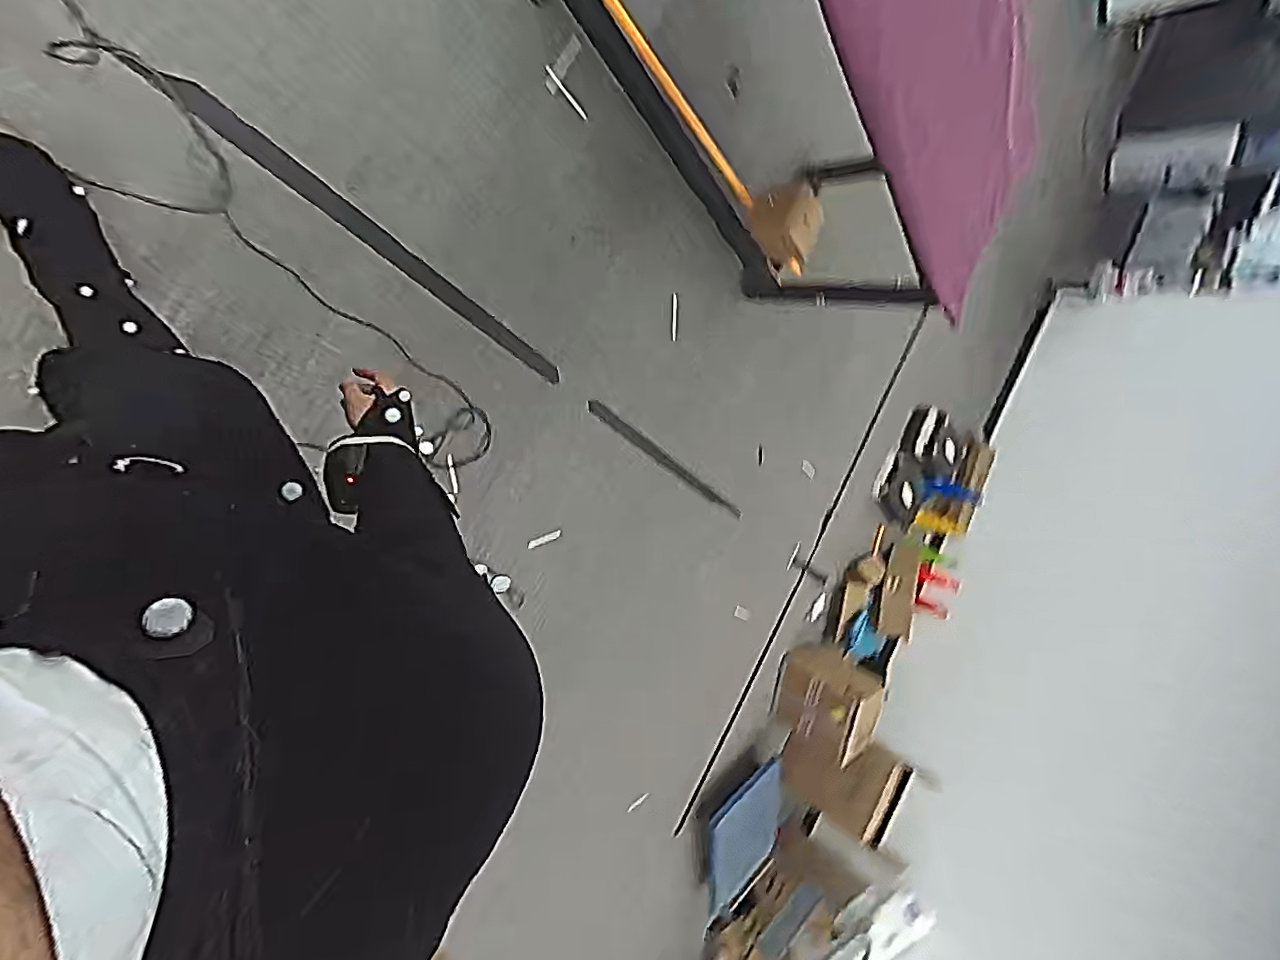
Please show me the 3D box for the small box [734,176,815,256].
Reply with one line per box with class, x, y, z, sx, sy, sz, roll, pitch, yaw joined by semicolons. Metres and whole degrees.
small box;0.438;-0.856;1.774;0.179;0.176;0.168;31;84;-46
